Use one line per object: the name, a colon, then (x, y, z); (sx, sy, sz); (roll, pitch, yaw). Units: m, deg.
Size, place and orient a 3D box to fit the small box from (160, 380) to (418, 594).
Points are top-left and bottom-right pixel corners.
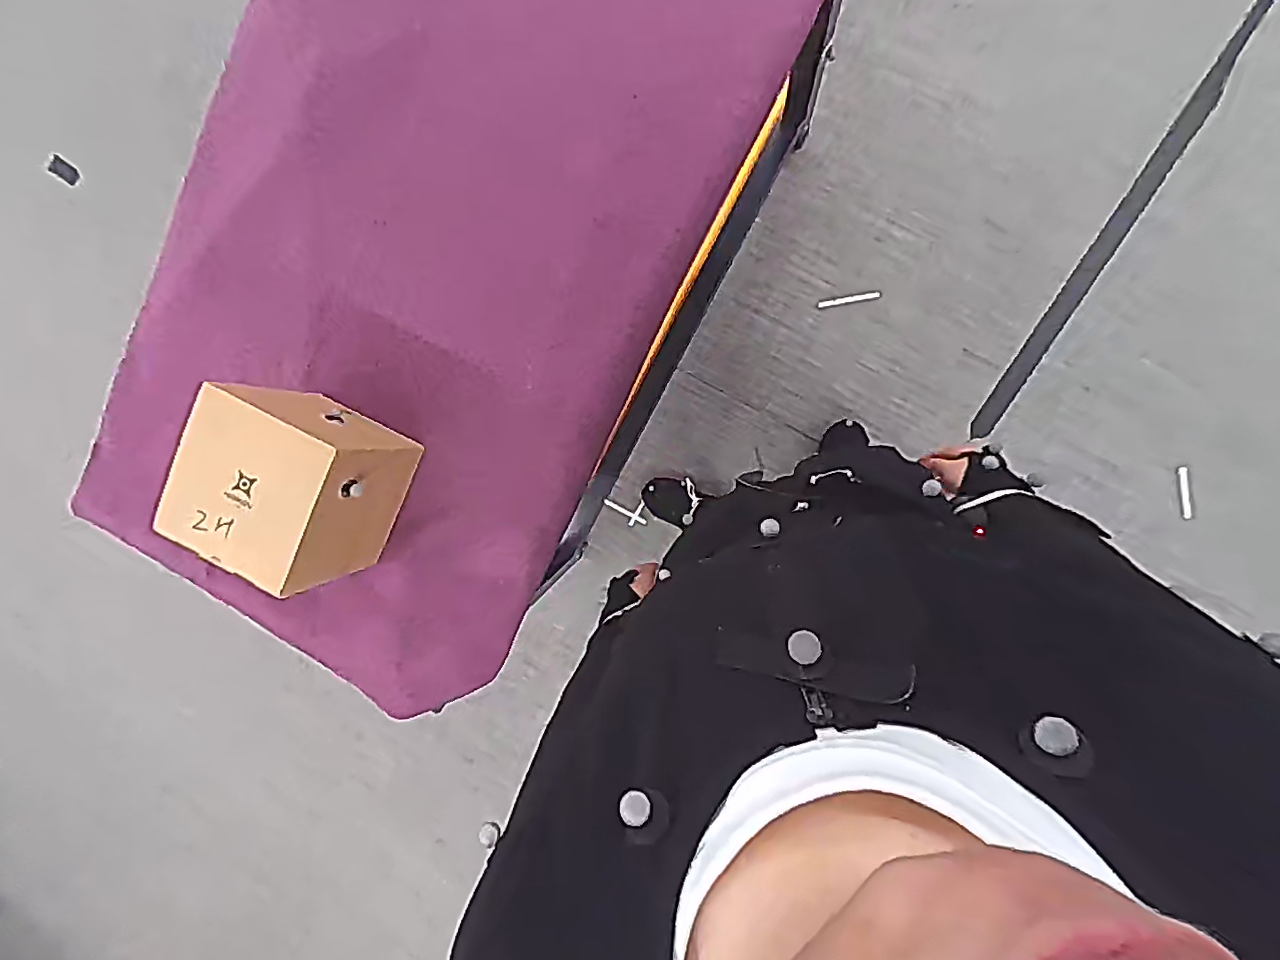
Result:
small box: (-0.395, 0.002, 0.640); (0.168, 0.176, 0.179); (26, 98, 6)
